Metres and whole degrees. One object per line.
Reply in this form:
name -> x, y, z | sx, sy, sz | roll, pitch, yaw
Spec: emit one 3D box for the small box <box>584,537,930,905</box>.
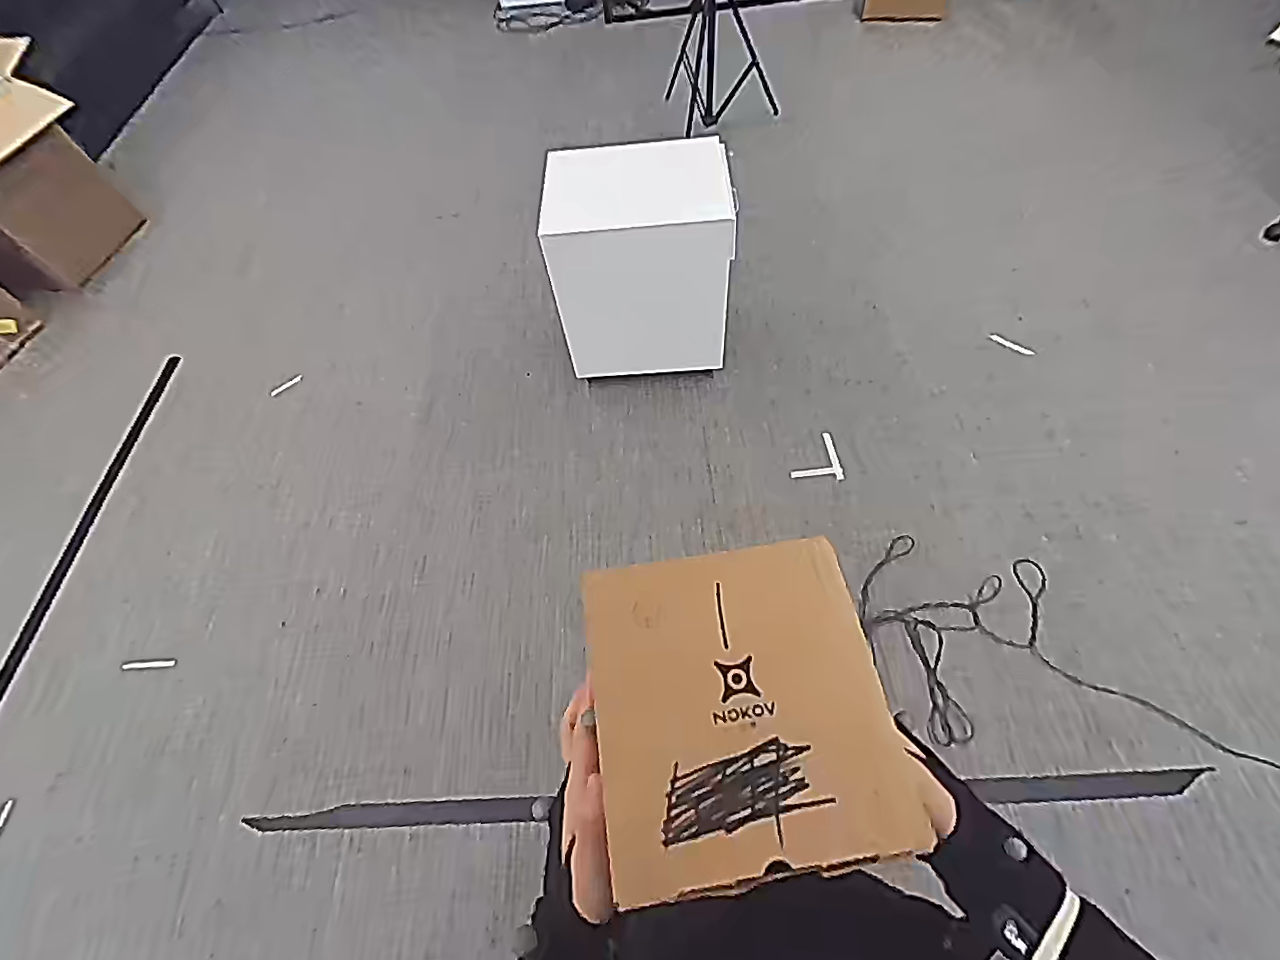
small box -> 0.058, 0.161, 0.379 | 0.168, 0.176, 0.179 | -8, 60, -4
